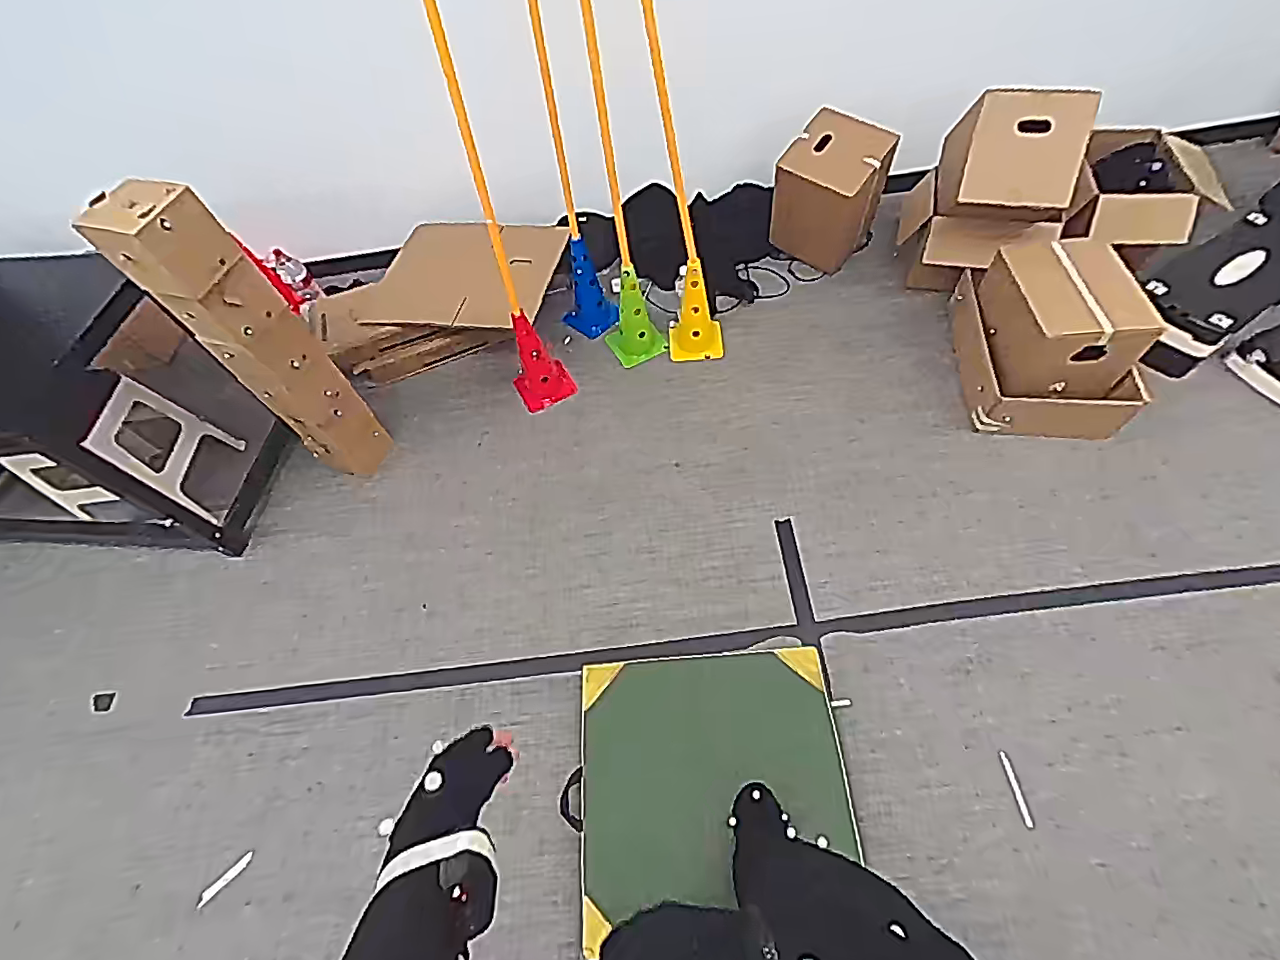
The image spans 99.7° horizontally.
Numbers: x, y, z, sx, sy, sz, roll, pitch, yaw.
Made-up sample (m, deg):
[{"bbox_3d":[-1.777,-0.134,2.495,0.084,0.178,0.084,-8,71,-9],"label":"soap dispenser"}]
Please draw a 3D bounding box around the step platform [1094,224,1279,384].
[{"bbox_3d":[1.932,-0.611,1.844,0.684,0.204,0.286,-32,60,-12],"label":"step platform"}]
